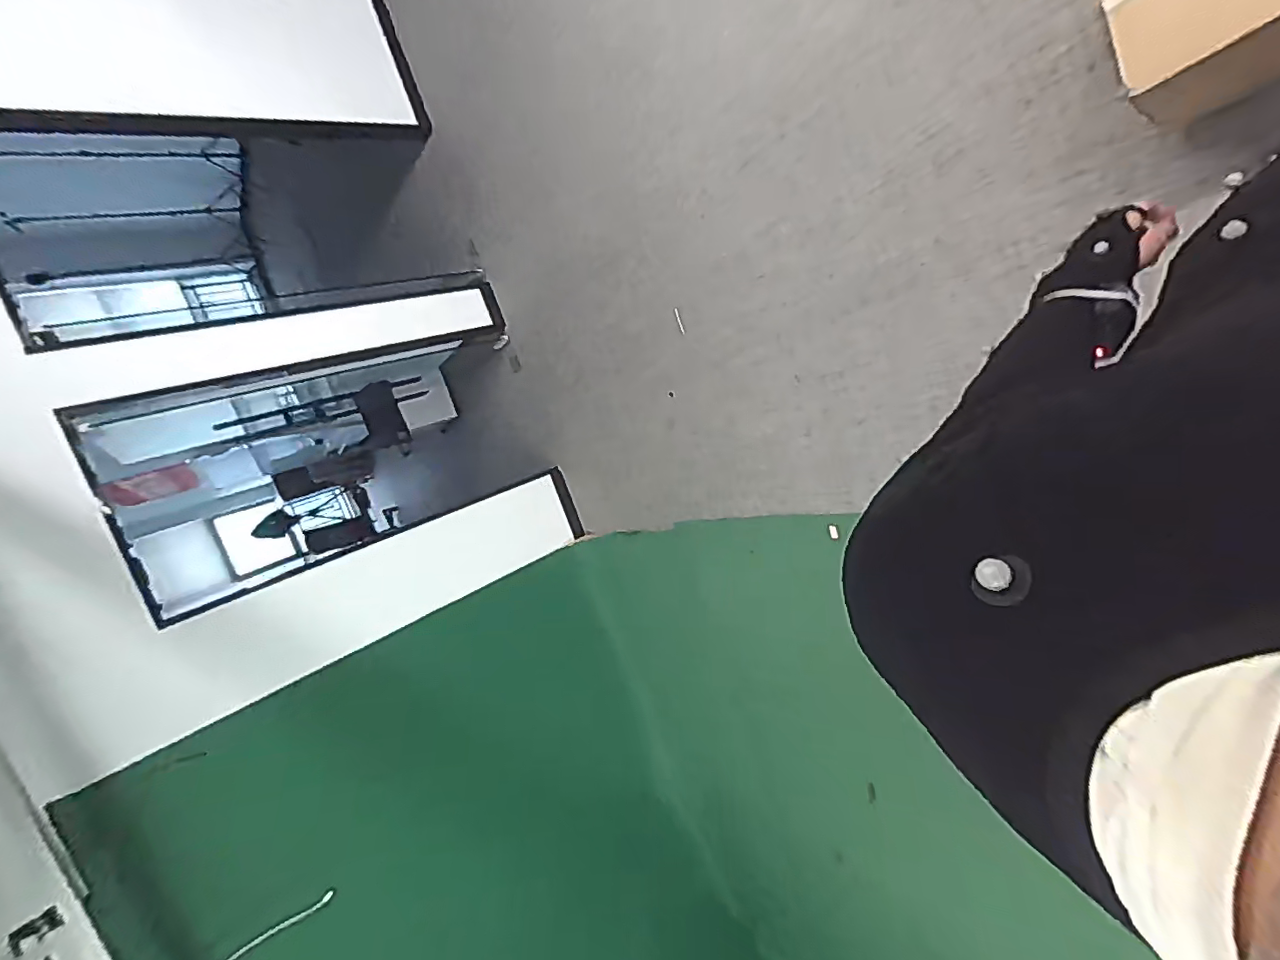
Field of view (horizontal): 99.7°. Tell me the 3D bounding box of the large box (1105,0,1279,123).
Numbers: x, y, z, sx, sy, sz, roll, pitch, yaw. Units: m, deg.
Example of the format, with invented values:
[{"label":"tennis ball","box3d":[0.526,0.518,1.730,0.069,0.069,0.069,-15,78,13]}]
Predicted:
[{"label":"large box","box3d":[0.990,-0.833,0.802,0.408,0.320,0.320,-16,87,55]}]
